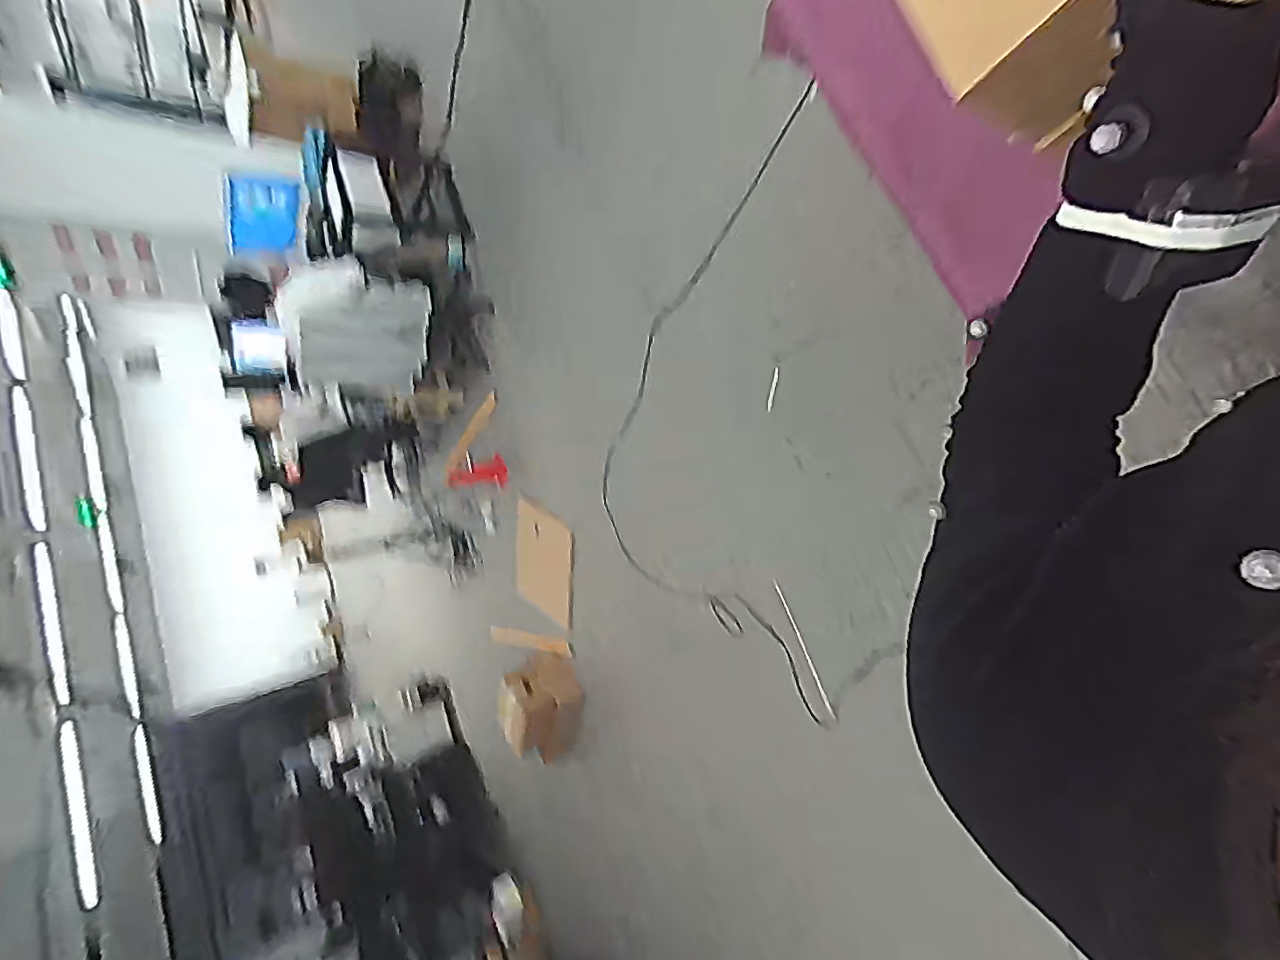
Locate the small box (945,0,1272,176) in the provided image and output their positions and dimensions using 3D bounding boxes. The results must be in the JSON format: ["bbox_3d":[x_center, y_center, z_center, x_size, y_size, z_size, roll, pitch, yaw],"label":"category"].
[{"bbox_3d":[0.438,-0.428,0.515,0.168,0.176,0.179,-36,71,48],"label":"small box"}]
